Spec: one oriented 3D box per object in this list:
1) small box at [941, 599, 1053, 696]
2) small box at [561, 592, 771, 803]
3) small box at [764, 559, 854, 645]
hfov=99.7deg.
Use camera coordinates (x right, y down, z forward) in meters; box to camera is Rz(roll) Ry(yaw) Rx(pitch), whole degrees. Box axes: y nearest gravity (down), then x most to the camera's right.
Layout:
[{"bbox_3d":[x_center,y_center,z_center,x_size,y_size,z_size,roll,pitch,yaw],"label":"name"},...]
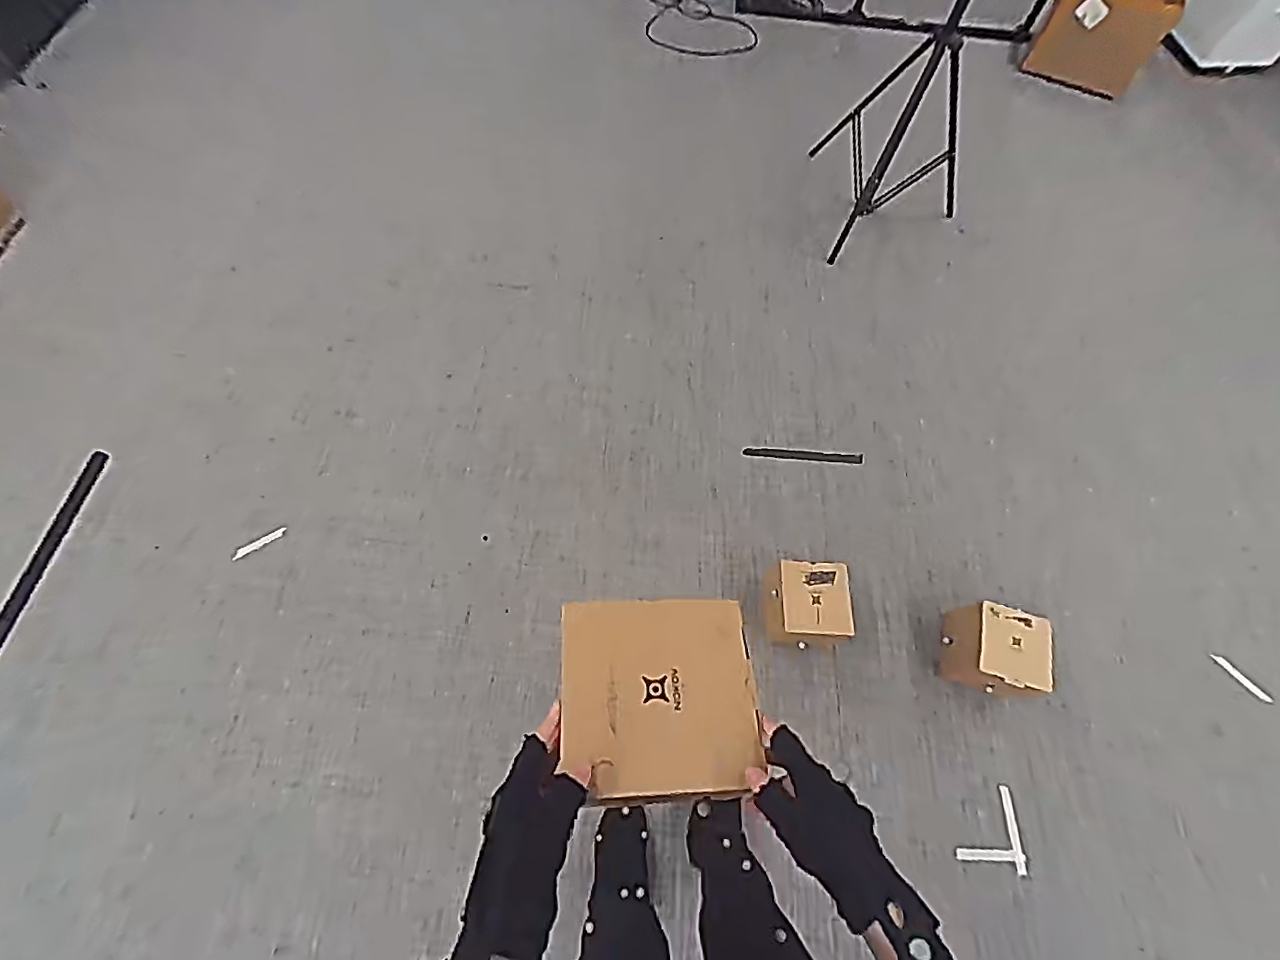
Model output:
[{"bbox_3d":[0.869,0.417,1.327,0.168,0.176,0.179,18,66,5],"label":"small box"},{"bbox_3d":[0.011,0.223,0.547,0.179,0.176,0.168,-1,56,-6],"label":"small box"},{"bbox_3d":[0.413,0.308,1.351,0.168,0.176,0.179,4,66,-2],"label":"small box"}]
